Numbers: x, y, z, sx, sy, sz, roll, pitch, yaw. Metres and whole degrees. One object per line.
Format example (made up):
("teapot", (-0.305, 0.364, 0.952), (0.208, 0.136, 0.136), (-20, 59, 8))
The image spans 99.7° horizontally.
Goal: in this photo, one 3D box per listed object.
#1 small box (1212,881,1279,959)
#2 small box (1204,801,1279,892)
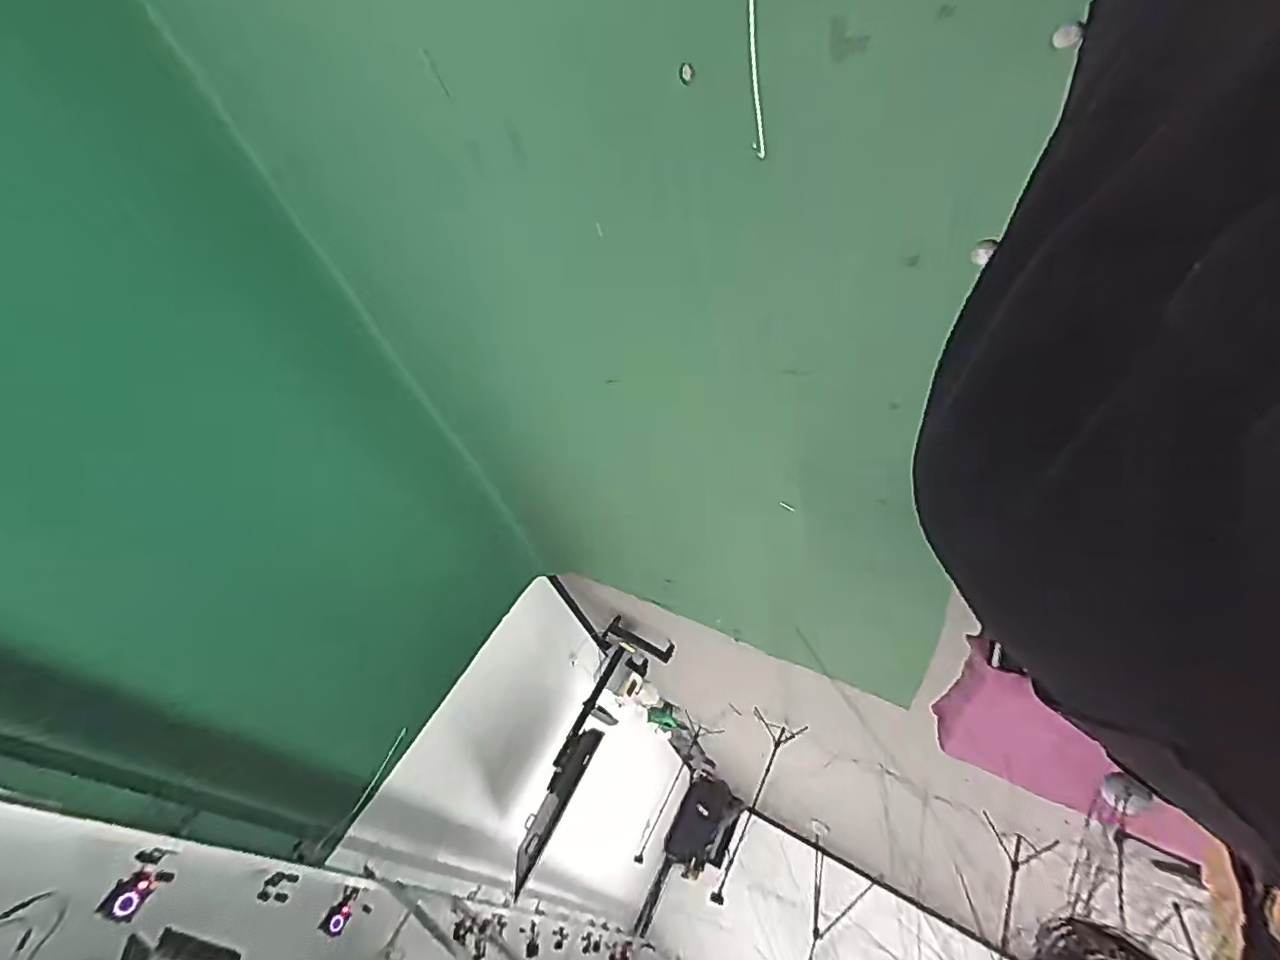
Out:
("small box", (1.211, 0.886, 0.998), (0.179, 0.176, 0.168), (13, 145, 32))
("small box", (1.293, 0.777, 1.091), (0.179, 0.176, 0.168), (14, 147, 31))
